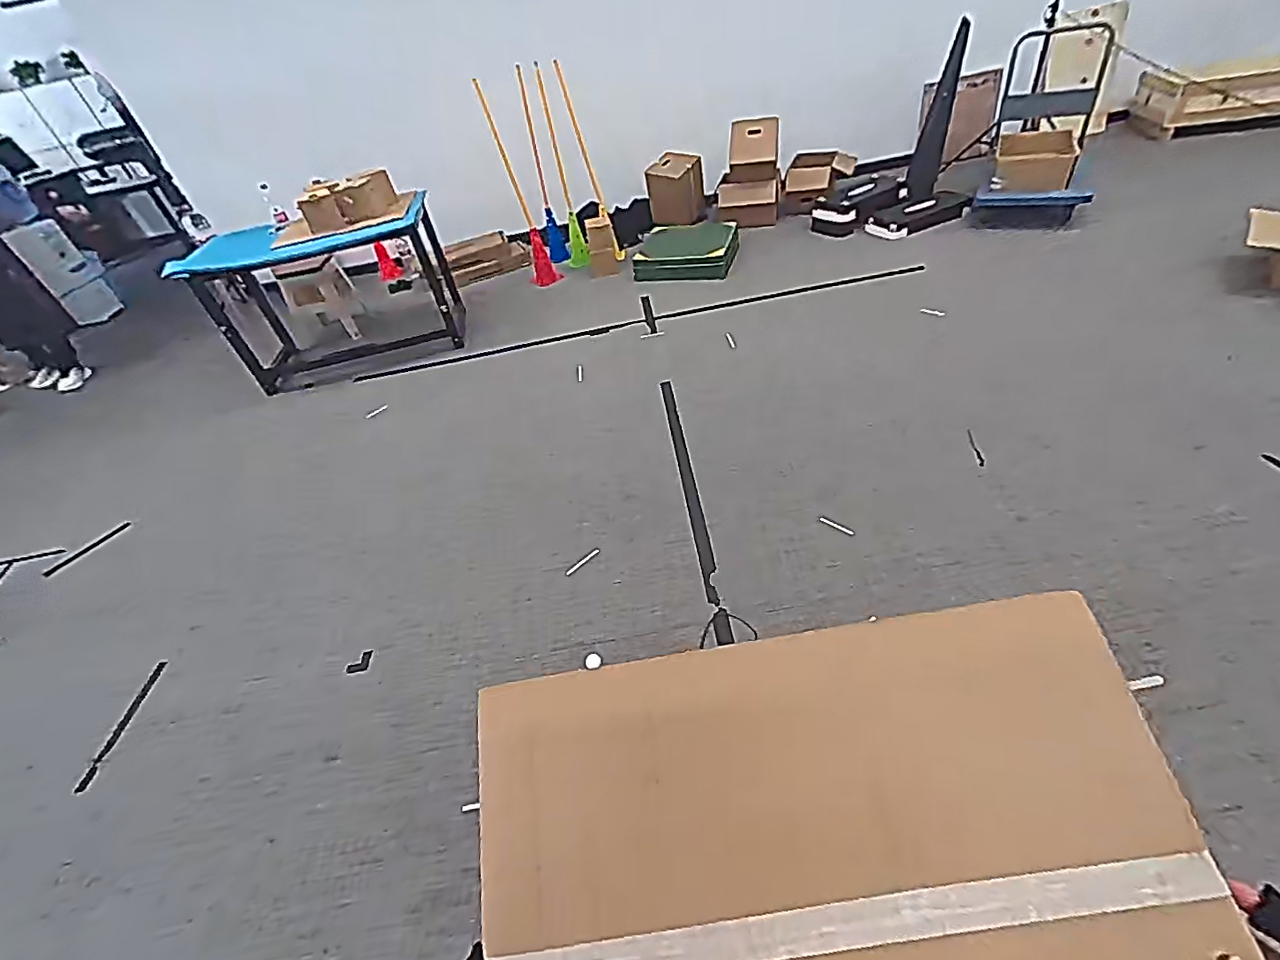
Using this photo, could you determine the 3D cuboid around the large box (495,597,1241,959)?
[{"bbox_3d":[0.131,0.314,0.445,0.408,0.320,0.320,-11,66,3],"label":"large box"}]
